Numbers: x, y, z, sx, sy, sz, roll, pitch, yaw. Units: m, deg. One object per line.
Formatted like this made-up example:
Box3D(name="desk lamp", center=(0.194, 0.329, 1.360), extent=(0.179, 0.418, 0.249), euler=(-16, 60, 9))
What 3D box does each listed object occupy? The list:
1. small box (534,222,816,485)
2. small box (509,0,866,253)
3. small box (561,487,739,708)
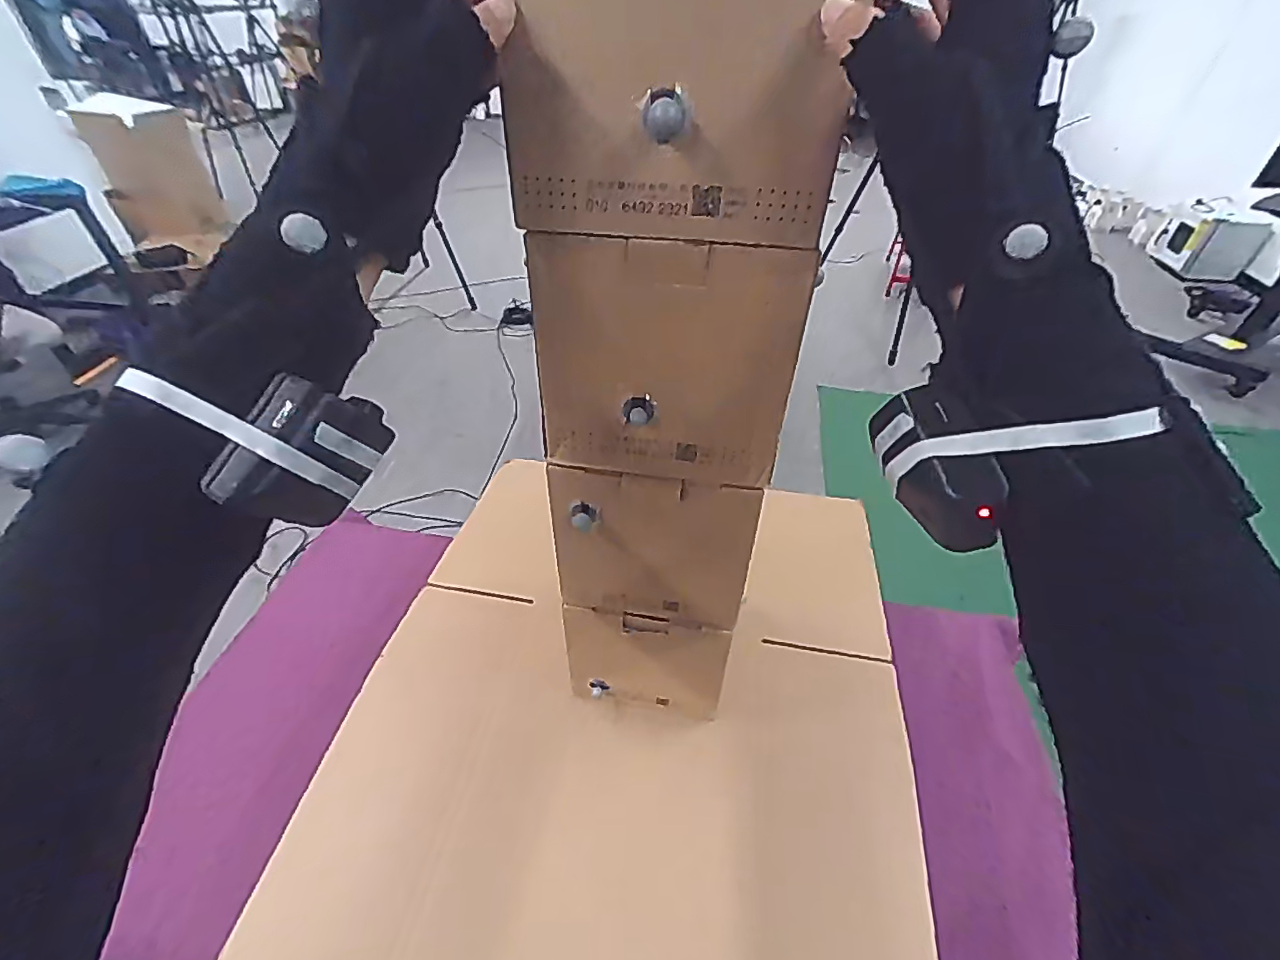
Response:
Box3D(name="small box", center=(0.026, -0.121, 0.418), extent=(0.168, 0.176, 0.179), euler=(7, 40, 5))
Box3D(name="small box", center=(0.026, -0.247, 0.313), extent=(0.168, 0.176, 0.179), euler=(6, 40, 5))
Box3D(name="small box", center=(0.018, 0.134, 0.624), extent=(0.168, 0.176, 0.179), euler=(8, 40, 7))
